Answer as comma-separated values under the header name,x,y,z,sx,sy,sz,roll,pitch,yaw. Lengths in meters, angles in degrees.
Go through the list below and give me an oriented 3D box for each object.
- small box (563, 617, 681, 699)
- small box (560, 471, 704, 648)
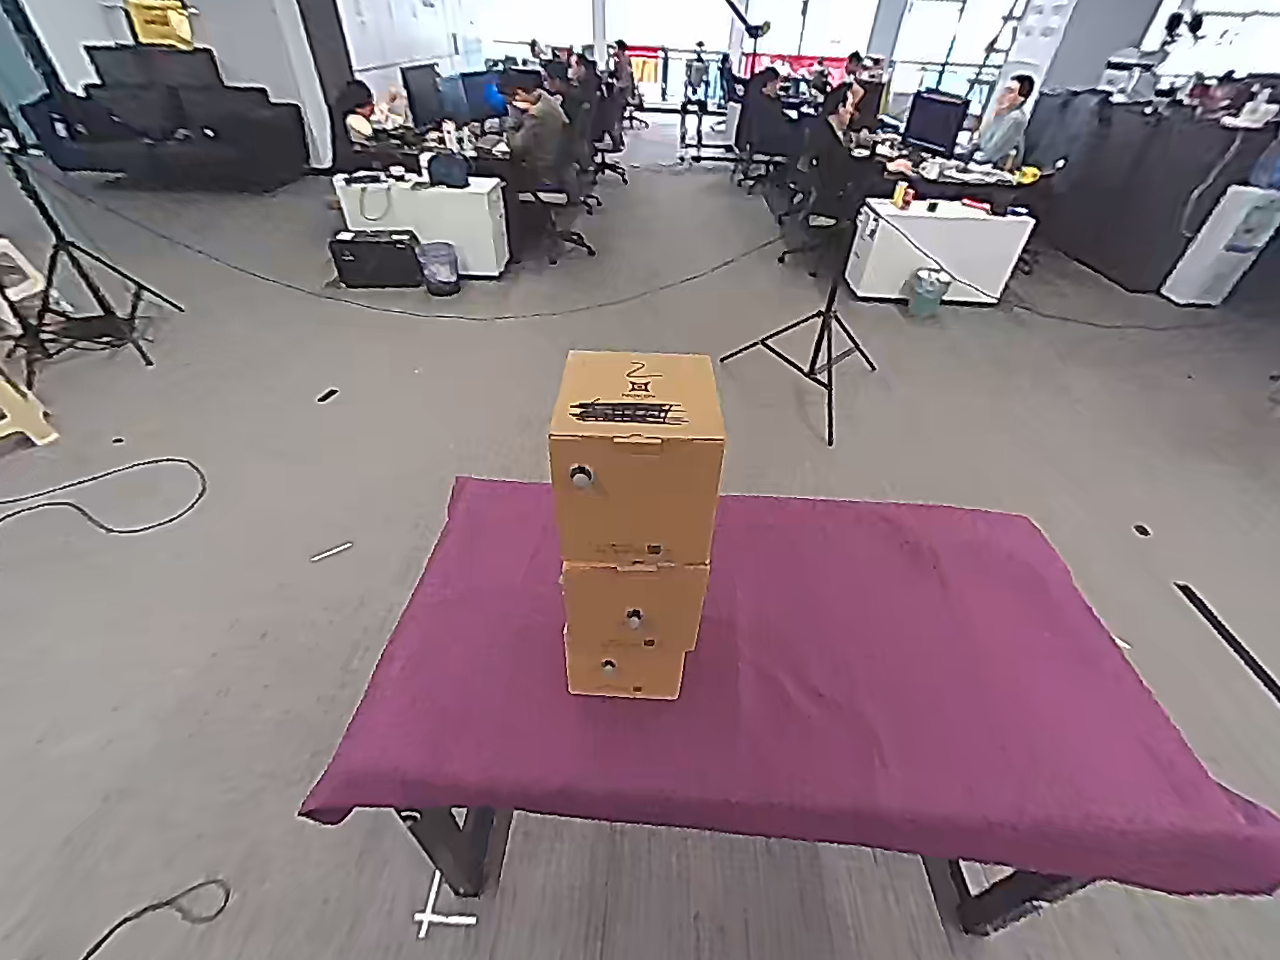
name,x,y,z,sx,sy,sz,roll,pitch,yaw
small box,-0.020,0.218,0.837,0.168,0.176,0.179,3,40,0
small box,-0.012,0.107,0.714,0.168,0.176,0.179,0,41,-3
